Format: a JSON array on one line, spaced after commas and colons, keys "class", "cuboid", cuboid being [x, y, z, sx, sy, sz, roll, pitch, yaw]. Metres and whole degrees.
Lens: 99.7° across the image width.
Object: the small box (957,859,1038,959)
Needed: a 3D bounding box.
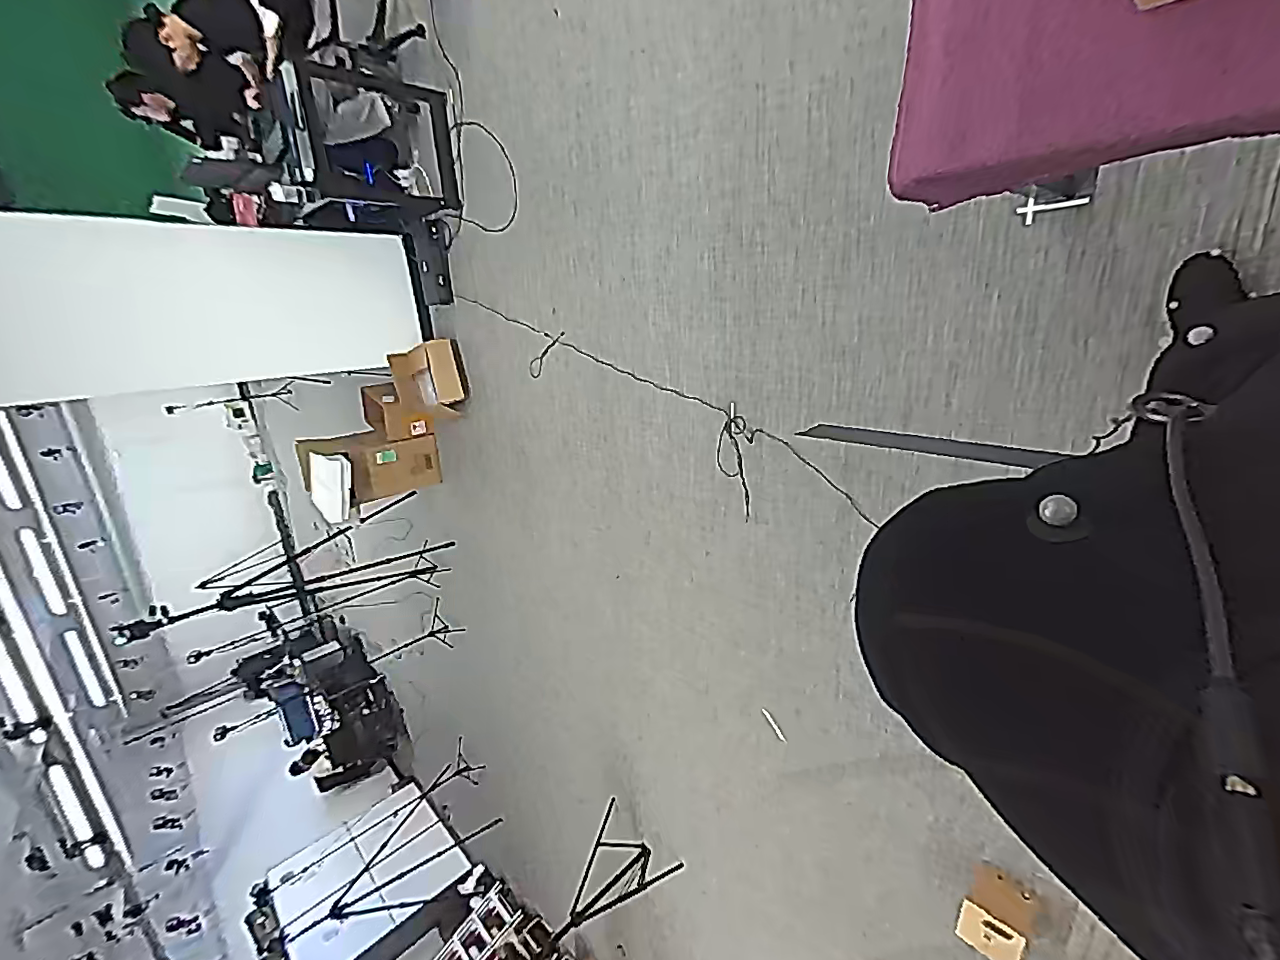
[{"class": "small box", "cuboid": [1.130, 1.359, 1.707, 0.168, 0.176, 0.179, 19, 119, 43]}]
